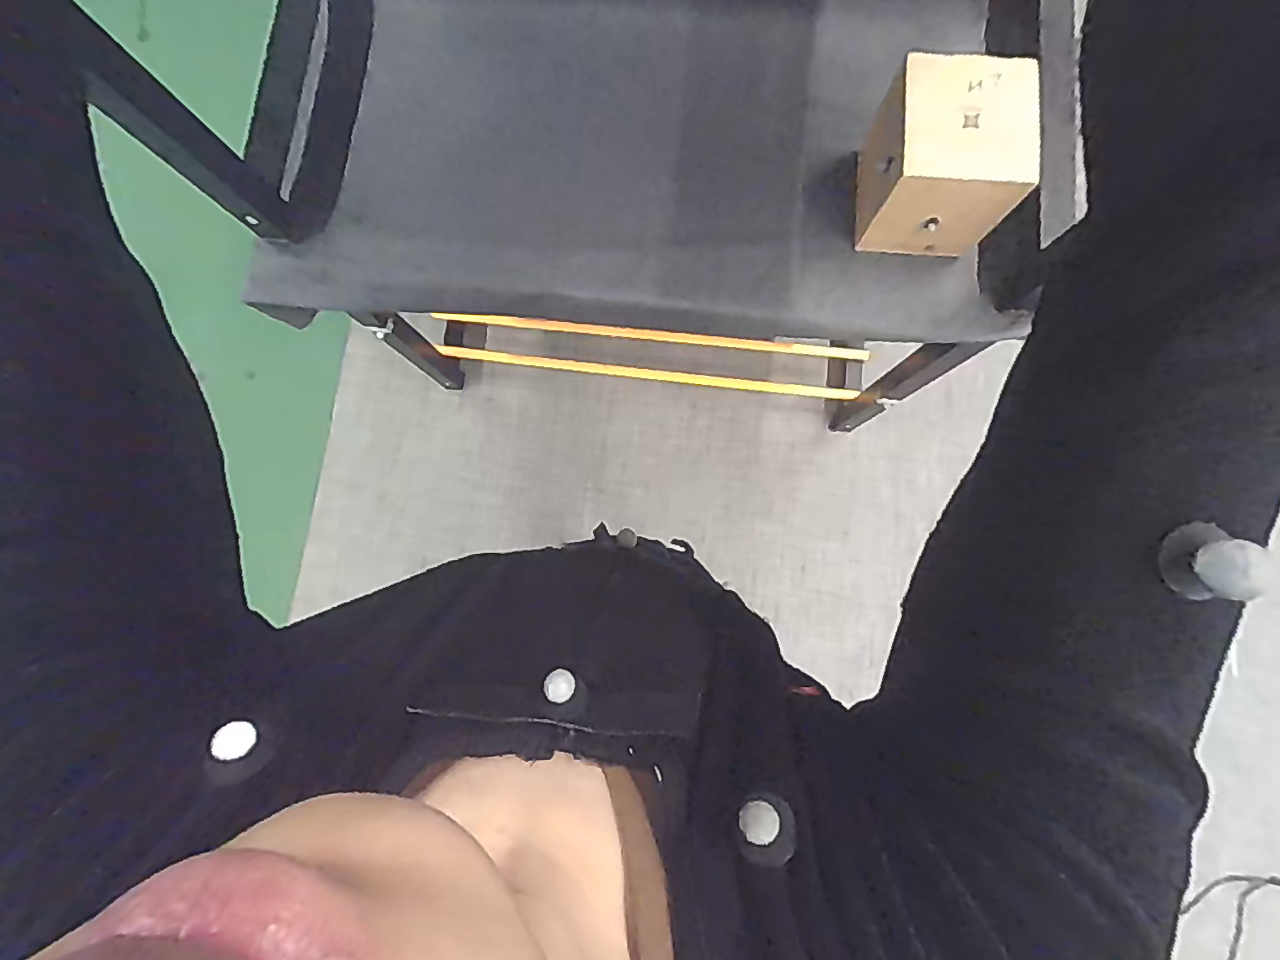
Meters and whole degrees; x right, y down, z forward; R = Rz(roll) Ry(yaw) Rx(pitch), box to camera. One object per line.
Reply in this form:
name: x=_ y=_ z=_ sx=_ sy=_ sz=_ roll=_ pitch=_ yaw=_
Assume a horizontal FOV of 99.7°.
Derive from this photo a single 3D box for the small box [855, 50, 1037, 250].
small box: x=0.413 y=-0.446 z=0.755 sx=0.168 sy=0.176 sz=0.179 roll=5 pitch=82 yaw=2
